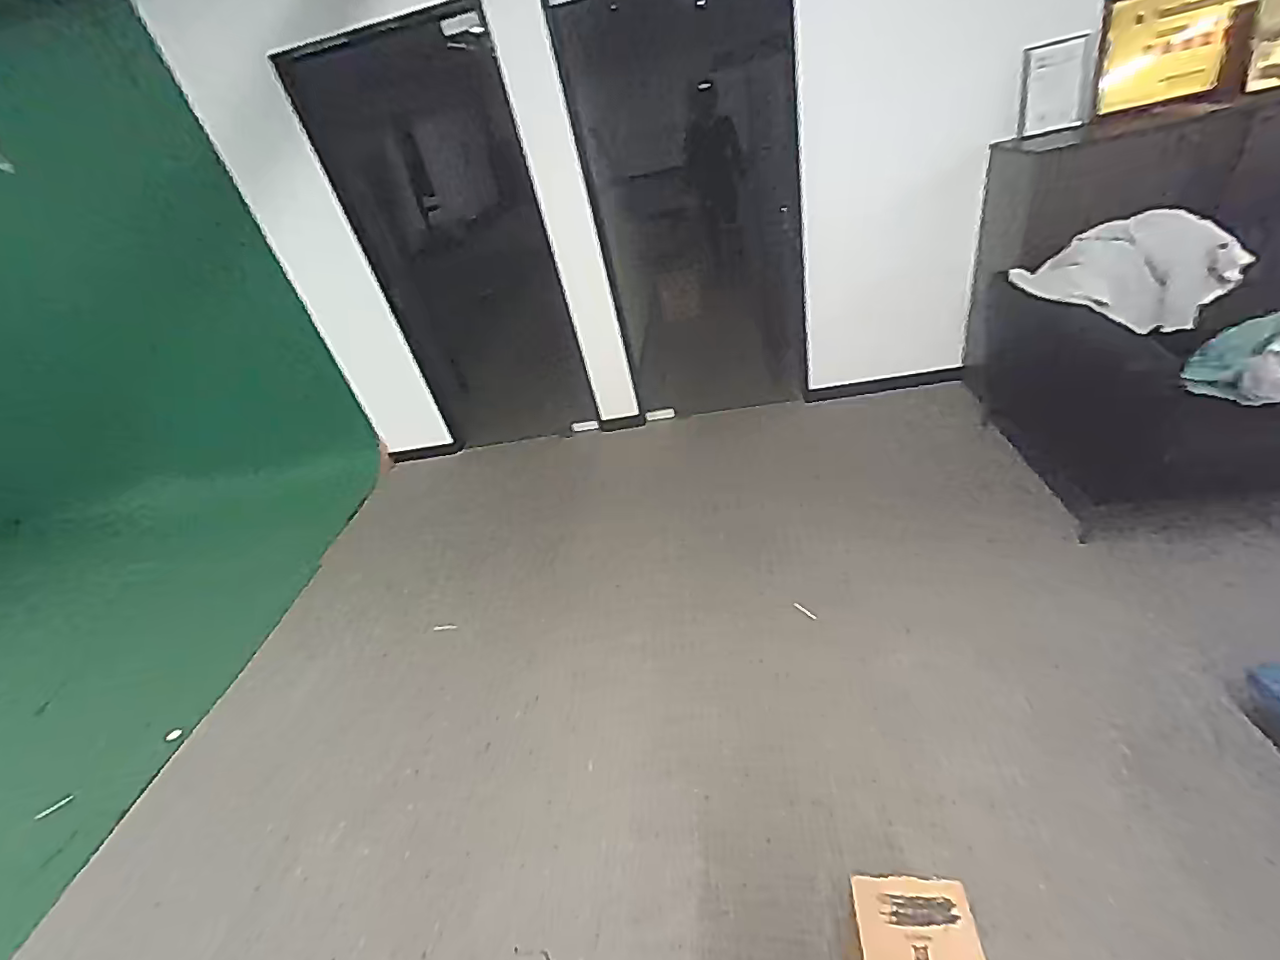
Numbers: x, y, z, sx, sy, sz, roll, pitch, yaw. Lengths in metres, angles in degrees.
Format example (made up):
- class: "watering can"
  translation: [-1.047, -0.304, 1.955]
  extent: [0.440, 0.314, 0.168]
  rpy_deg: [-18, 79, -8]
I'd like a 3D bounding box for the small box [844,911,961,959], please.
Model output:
- class: "small box"
  translation: [0.453, 0.869, 0.922]
  extent: [0.179, 0.176, 0.168]
  rpy_deg: [-5, 36, 12]
